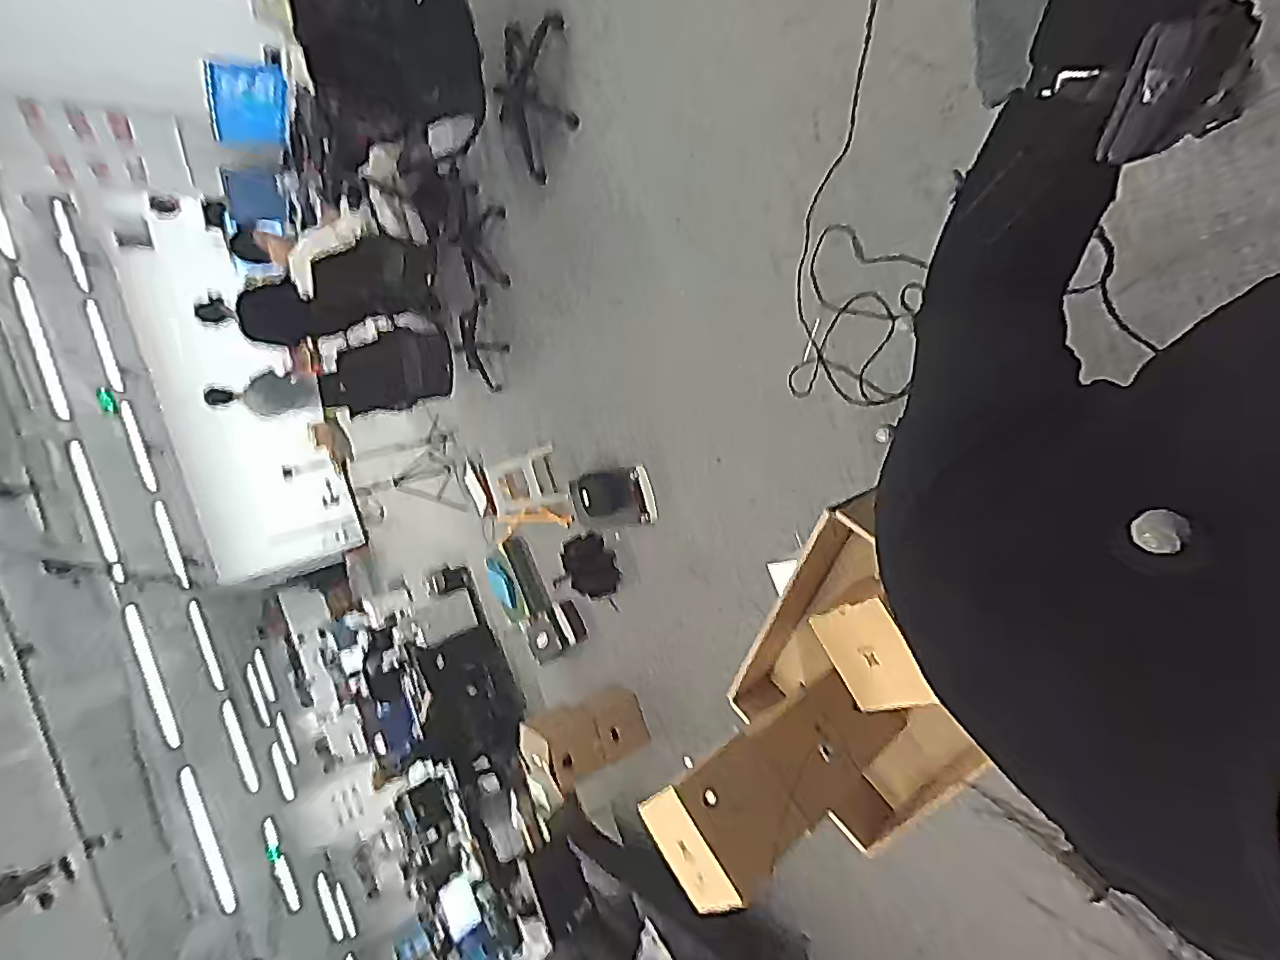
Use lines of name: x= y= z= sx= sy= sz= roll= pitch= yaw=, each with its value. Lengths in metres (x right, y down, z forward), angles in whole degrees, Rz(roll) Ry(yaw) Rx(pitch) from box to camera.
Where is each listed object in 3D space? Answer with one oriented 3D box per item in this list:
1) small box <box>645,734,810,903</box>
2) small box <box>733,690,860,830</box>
small box: x=0.143 y=0.556 z=0.906 sx=0.179 sy=0.176 sz=0.168 roll=51 pitch=141 yaw=23
small box: x=0.269 y=0.526 z=1.009 sx=0.168 sy=0.176 sz=0.179 roll=53 pitch=140 yaw=20
